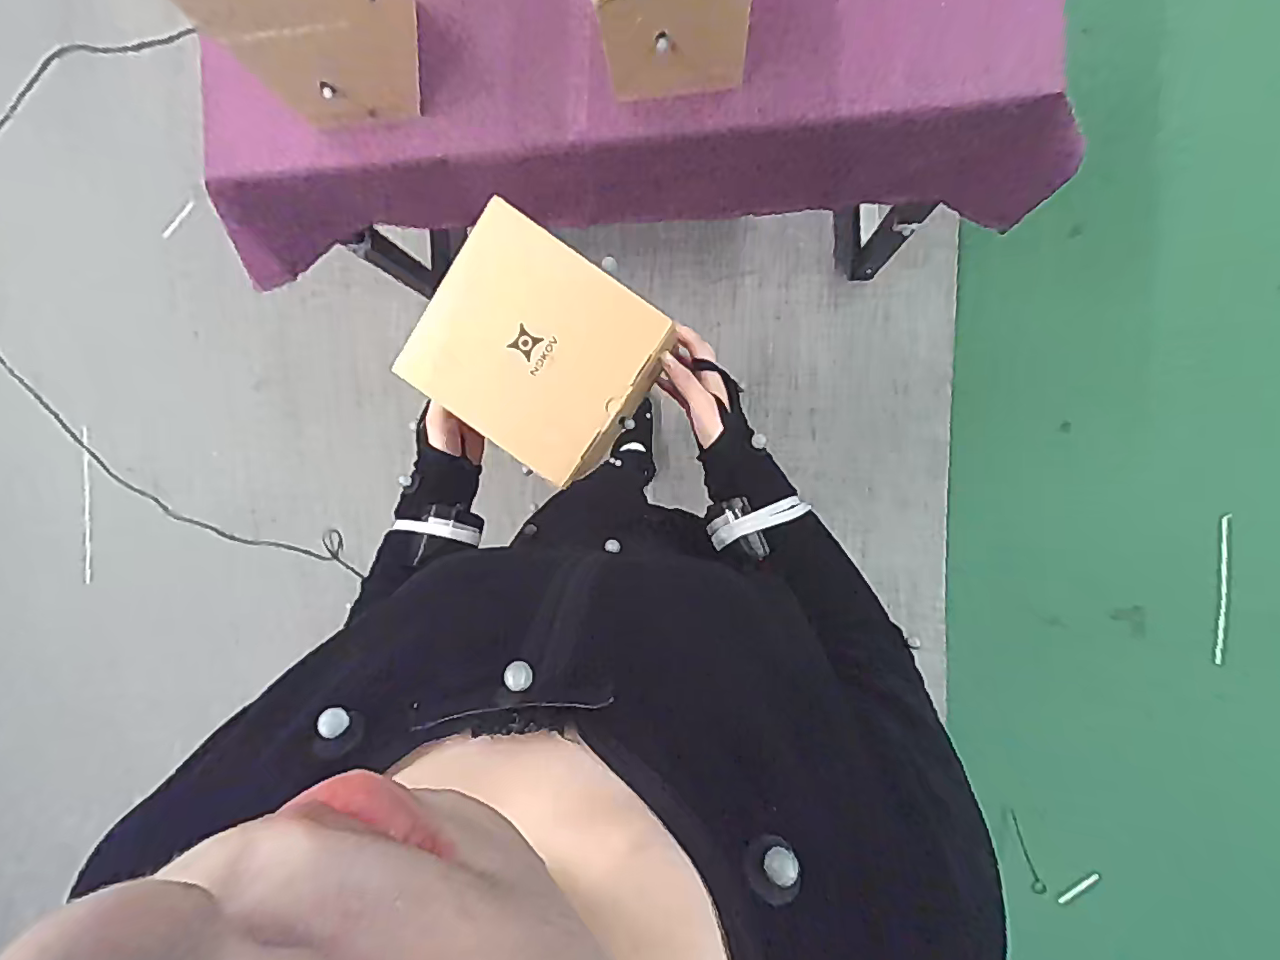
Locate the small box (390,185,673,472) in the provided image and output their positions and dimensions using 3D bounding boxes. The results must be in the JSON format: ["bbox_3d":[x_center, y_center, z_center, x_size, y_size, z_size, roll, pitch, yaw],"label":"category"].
[{"bbox_3d":[-0.086,-0.128,0.513,0.179,0.176,0.168,36,99,-2],"label":"small box"}]

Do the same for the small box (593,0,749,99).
[{"bbox_3d":[0.041,-0.604,0.659,0.179,0.176,0.168,-3,91,7],"label":"small box"}]

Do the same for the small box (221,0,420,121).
[{"bbox_3d":[-0.404,-0.601,0.704,0.168,0.176,0.179,-2,90,5],"label":"small box"}]

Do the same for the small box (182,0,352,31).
[{"bbox_3d":[-0.421,-0.597,0.540,0.179,0.176,0.168,-2,91,5],"label":"small box"}]
